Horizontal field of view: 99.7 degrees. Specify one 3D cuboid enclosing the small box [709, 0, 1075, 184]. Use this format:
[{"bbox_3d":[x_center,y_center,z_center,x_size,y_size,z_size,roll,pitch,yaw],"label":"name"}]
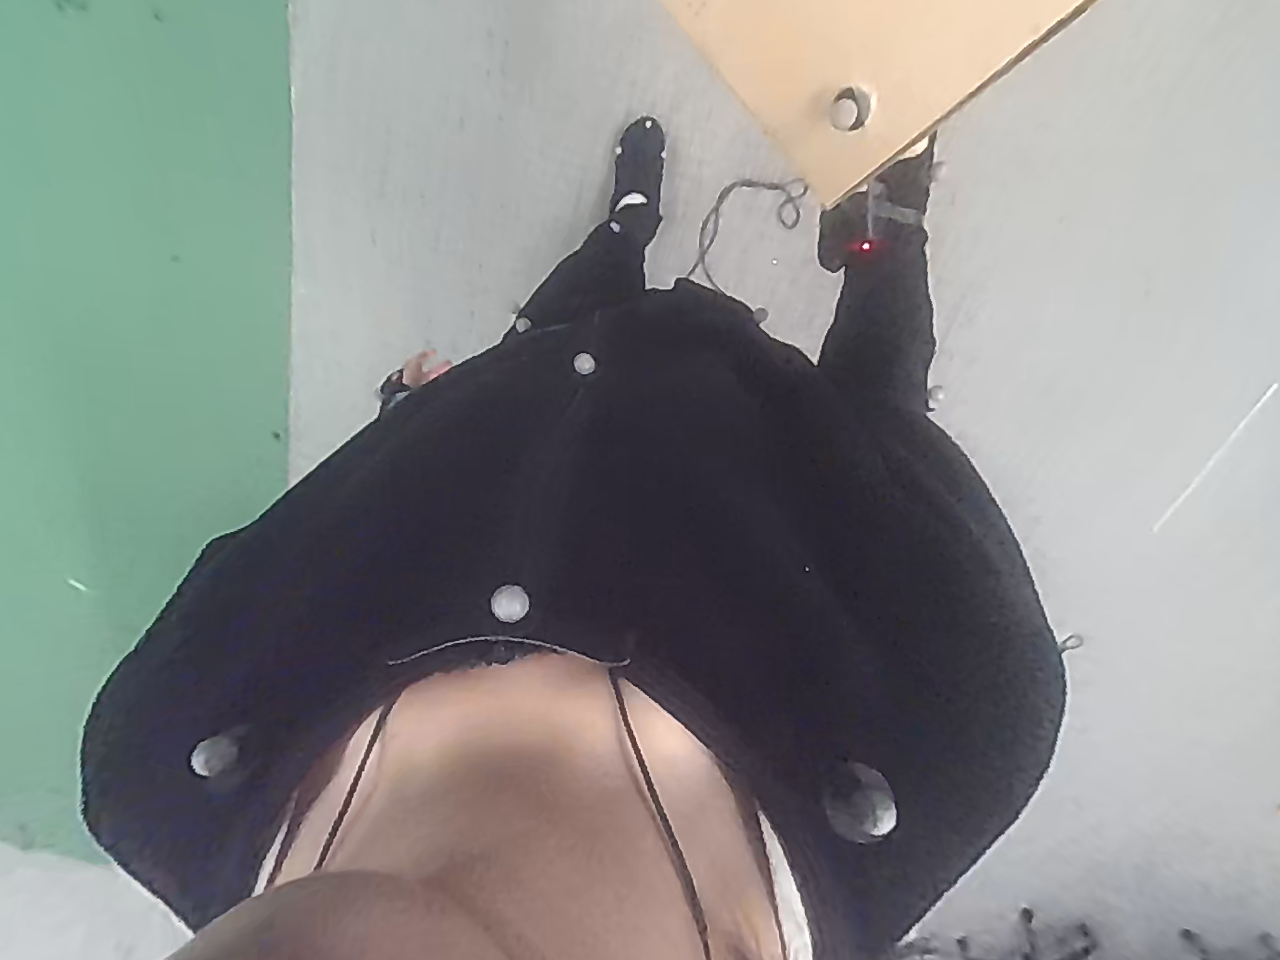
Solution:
[{"bbox_3d":[0.152,-0.324,0.307,0.176,0.168,0.179,41,147,-17],"label":"small box"}]
